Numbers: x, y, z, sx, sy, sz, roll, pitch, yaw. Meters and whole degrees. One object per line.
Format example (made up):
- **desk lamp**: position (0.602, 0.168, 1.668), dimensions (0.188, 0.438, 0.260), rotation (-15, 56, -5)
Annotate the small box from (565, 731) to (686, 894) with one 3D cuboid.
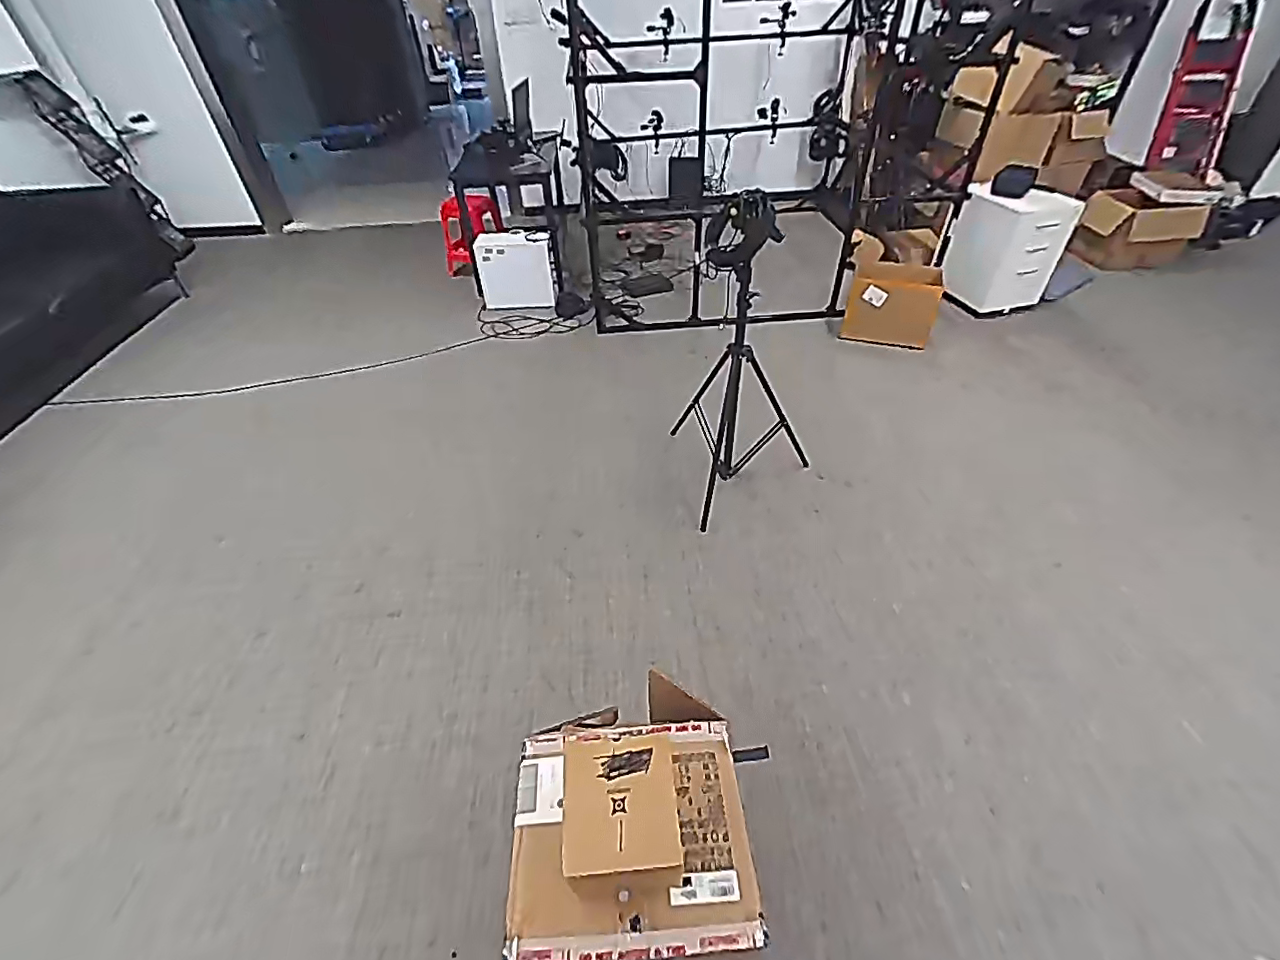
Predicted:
- **small box**: position (-0.023, 0.516, 0.839), dimensions (0.168, 0.176, 0.179), rotation (-5, 46, -2)
